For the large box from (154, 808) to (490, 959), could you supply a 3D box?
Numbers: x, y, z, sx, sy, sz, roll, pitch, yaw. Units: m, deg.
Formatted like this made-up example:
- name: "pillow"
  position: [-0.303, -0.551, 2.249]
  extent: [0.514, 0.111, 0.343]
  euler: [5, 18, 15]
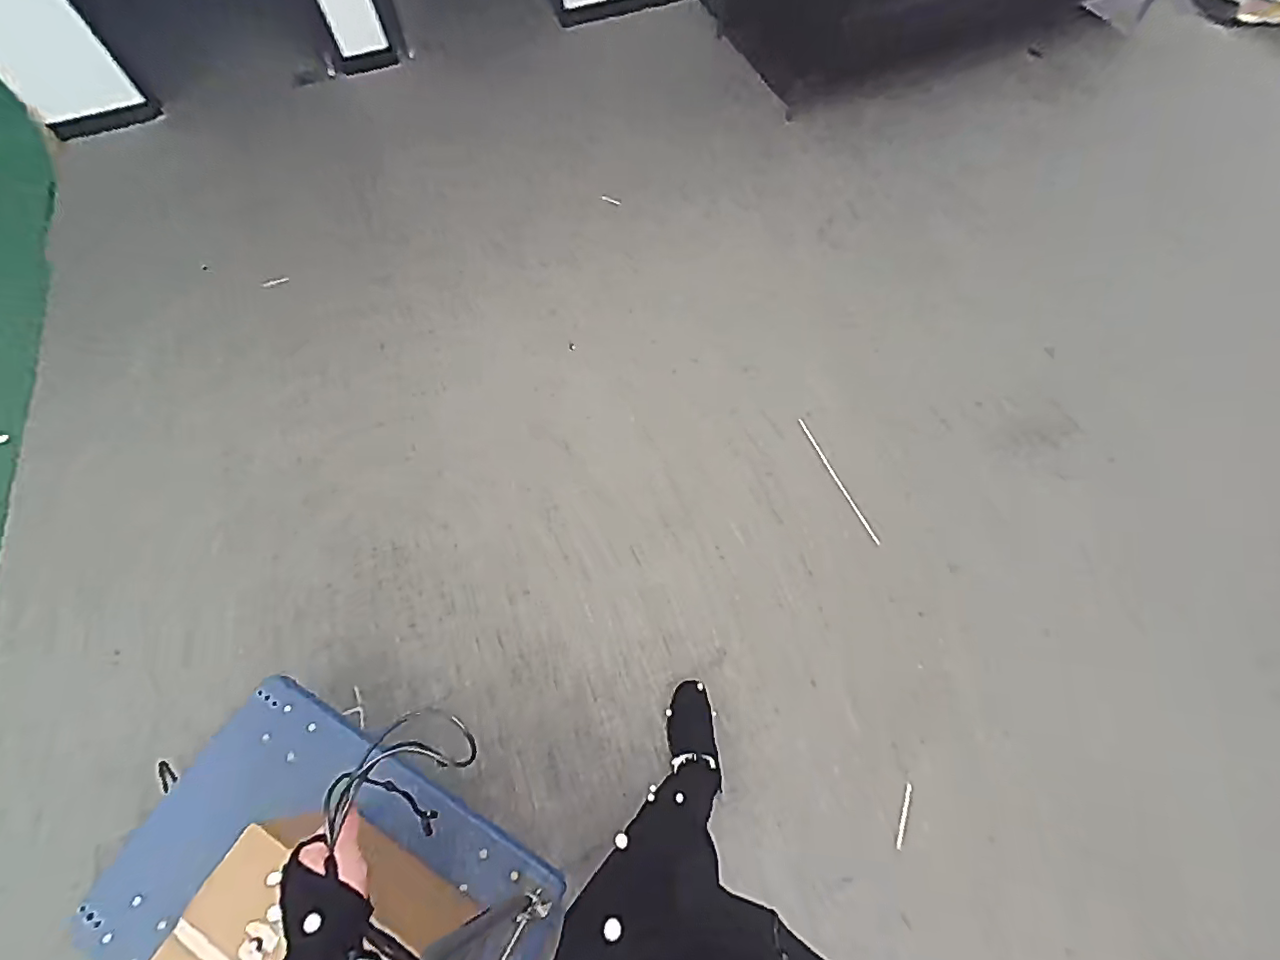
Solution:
- name: "large box"
  position: [-0.546, 0.849, 0.946]
  extent: [0.408, 0.320, 0.320]
  euler: [25, 67, 15]
